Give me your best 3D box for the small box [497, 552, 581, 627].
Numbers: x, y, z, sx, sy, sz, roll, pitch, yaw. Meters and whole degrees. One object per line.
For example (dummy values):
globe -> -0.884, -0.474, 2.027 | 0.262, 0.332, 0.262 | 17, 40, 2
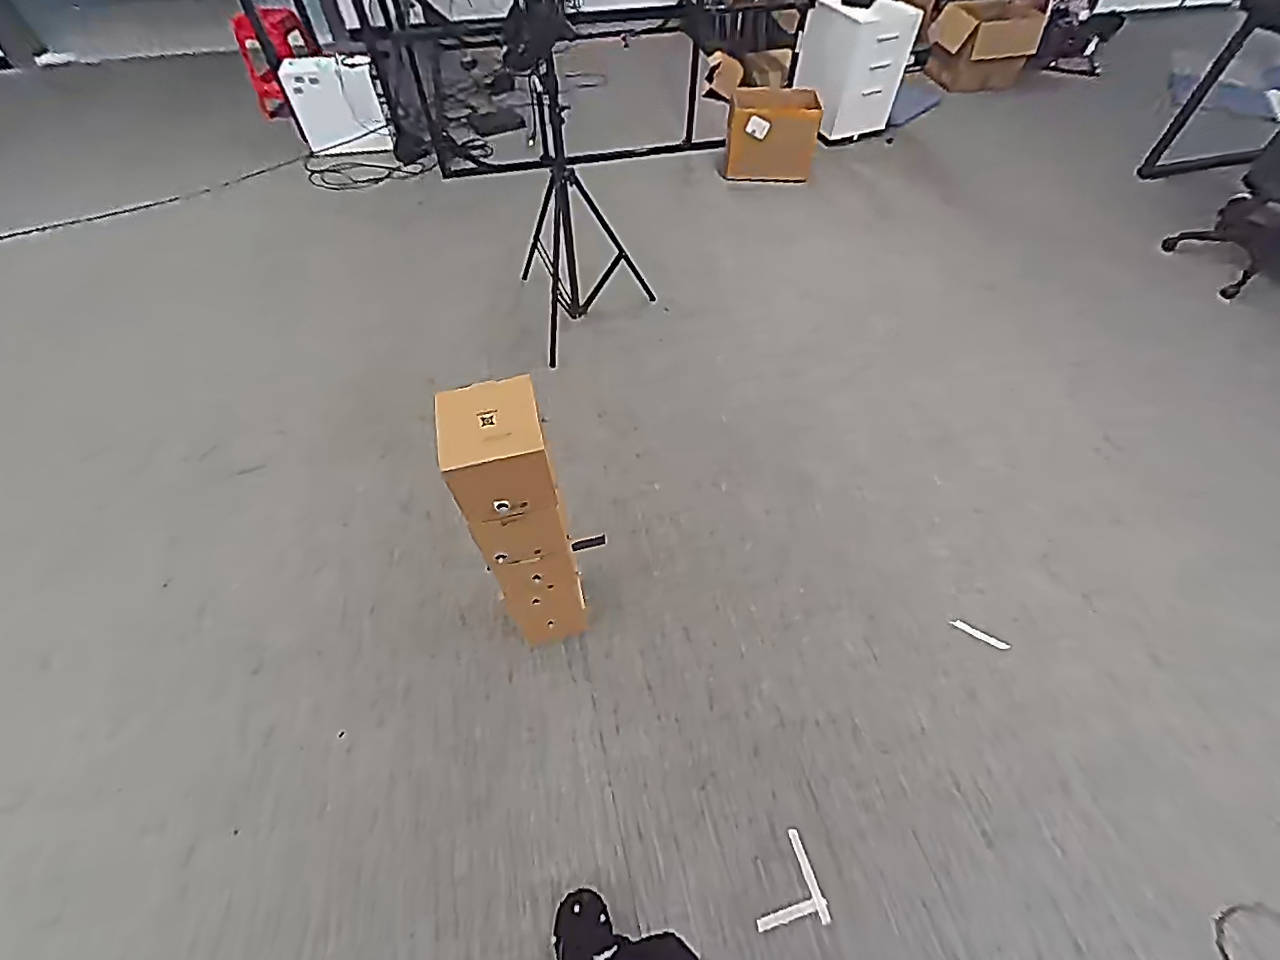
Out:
small box -> -0.250, 0.248, 1.337 | 0.179, 0.176, 0.168 | -10, 56, -7

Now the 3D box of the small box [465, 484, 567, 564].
small box -> -0.245, 0.053, 1.074 | 0.168, 0.176, 0.179 | -11, 54, -7

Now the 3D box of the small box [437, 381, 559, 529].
small box -> -0.243, -0.042, 0.943 | 0.168, 0.176, 0.179 | -13, 57, -8

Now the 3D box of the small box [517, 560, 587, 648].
small box -> -0.243, 0.340, 1.474 | 0.179, 0.176, 0.168 | -12, 56, -8

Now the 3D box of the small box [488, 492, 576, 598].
small box -> -0.242, 0.149, 1.207 | 0.168, 0.176, 0.179 | -10, 56, -7
